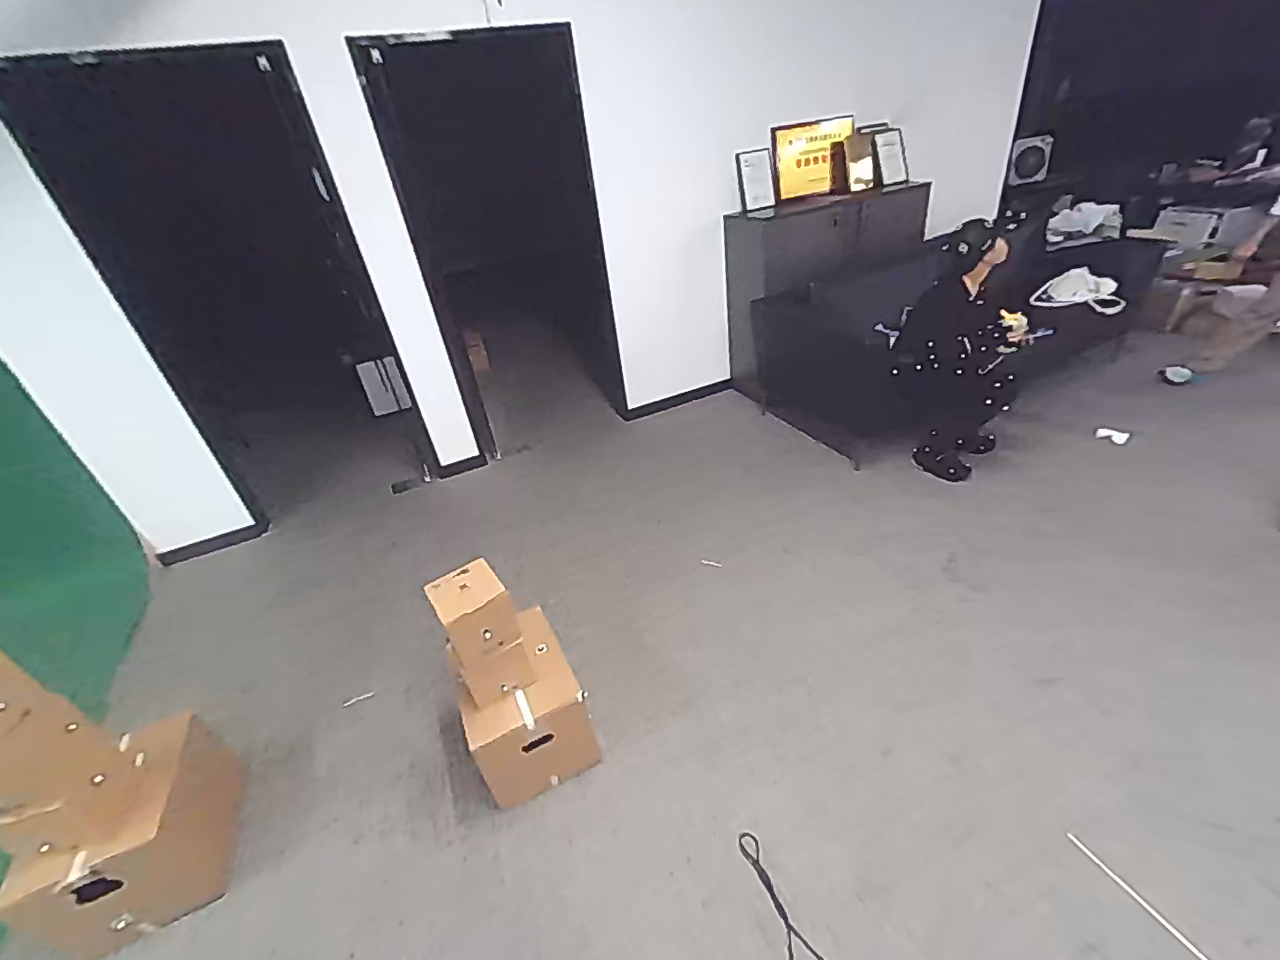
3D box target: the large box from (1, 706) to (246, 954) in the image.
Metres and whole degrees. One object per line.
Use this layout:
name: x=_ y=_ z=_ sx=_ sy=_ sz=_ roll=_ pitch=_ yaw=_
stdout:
large box: x=-1.328 y=0.919 z=1.456 sx=0.320 sy=0.320 sz=0.408 roll=-20 pitch=33 yaw=-18

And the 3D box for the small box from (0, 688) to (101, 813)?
small box: x=-1.373 y=0.603 z=1.202 sx=0.168 sy=0.176 sz=0.179 roll=-13 pitch=34 yaw=-5

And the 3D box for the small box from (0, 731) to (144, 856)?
small box: x=-1.343 y=0.741 z=1.284 sx=0.168 sy=0.176 sz=0.179 roll=-15 pitch=33 yaw=-8

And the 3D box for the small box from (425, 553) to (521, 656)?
small box: x=-0.428 y=0.329 z=1.405 sx=0.168 sy=0.176 sz=0.179 roll=-27 pitch=38 yaw=-24
